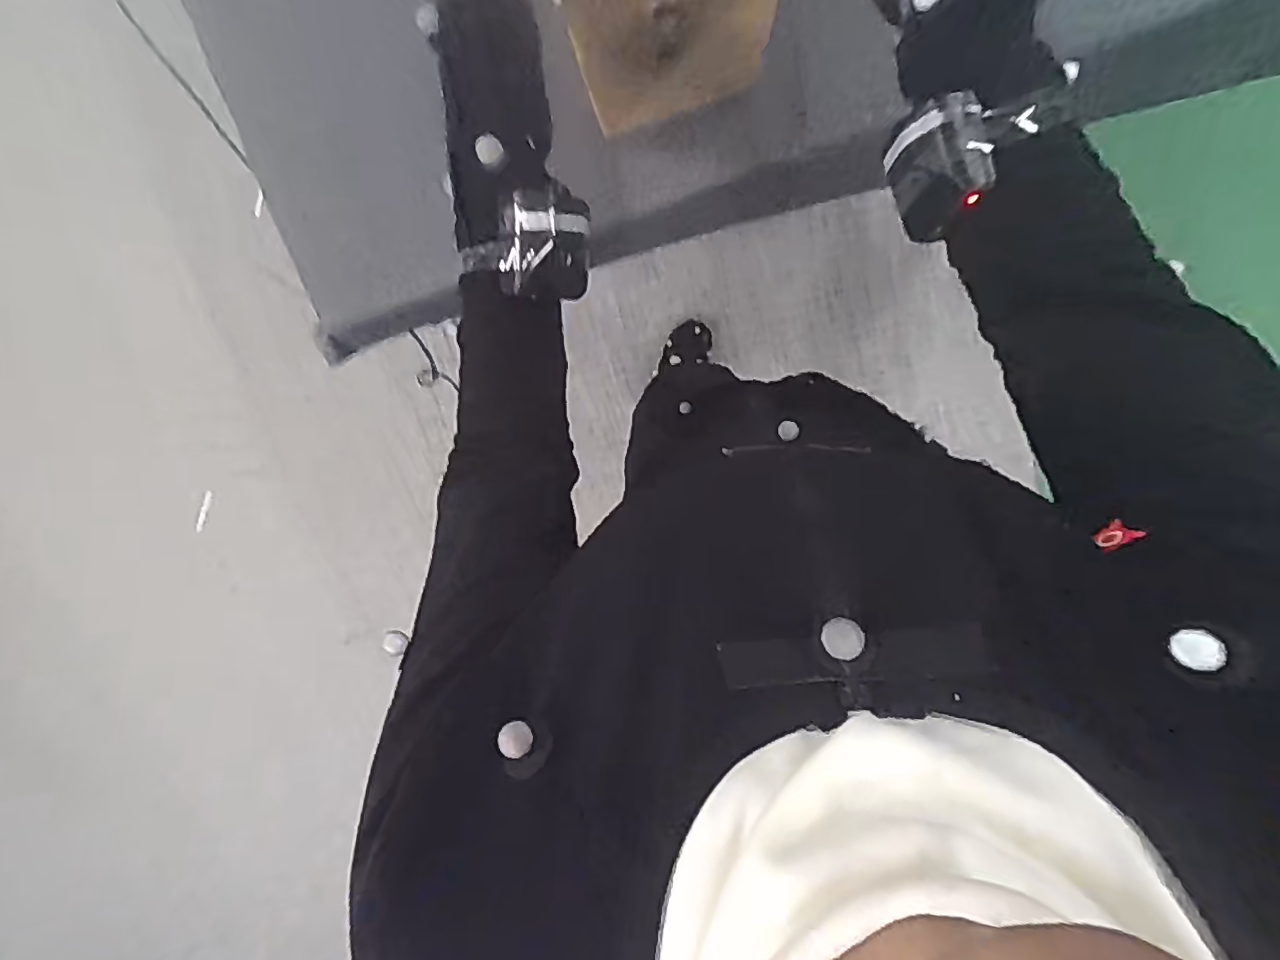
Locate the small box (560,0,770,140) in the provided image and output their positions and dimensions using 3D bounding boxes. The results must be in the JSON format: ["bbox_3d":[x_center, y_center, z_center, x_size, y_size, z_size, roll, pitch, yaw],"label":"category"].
[{"bbox_3d":[0.015,-0.473,0.532,0.179,0.176,0.168,-15,101,7],"label":"small box"}]

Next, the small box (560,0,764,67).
[{"bbox_3d":[0.000,-0.433,0.358,0.168,0.176,0.179,-15,101,9],"label":"small box"}]
